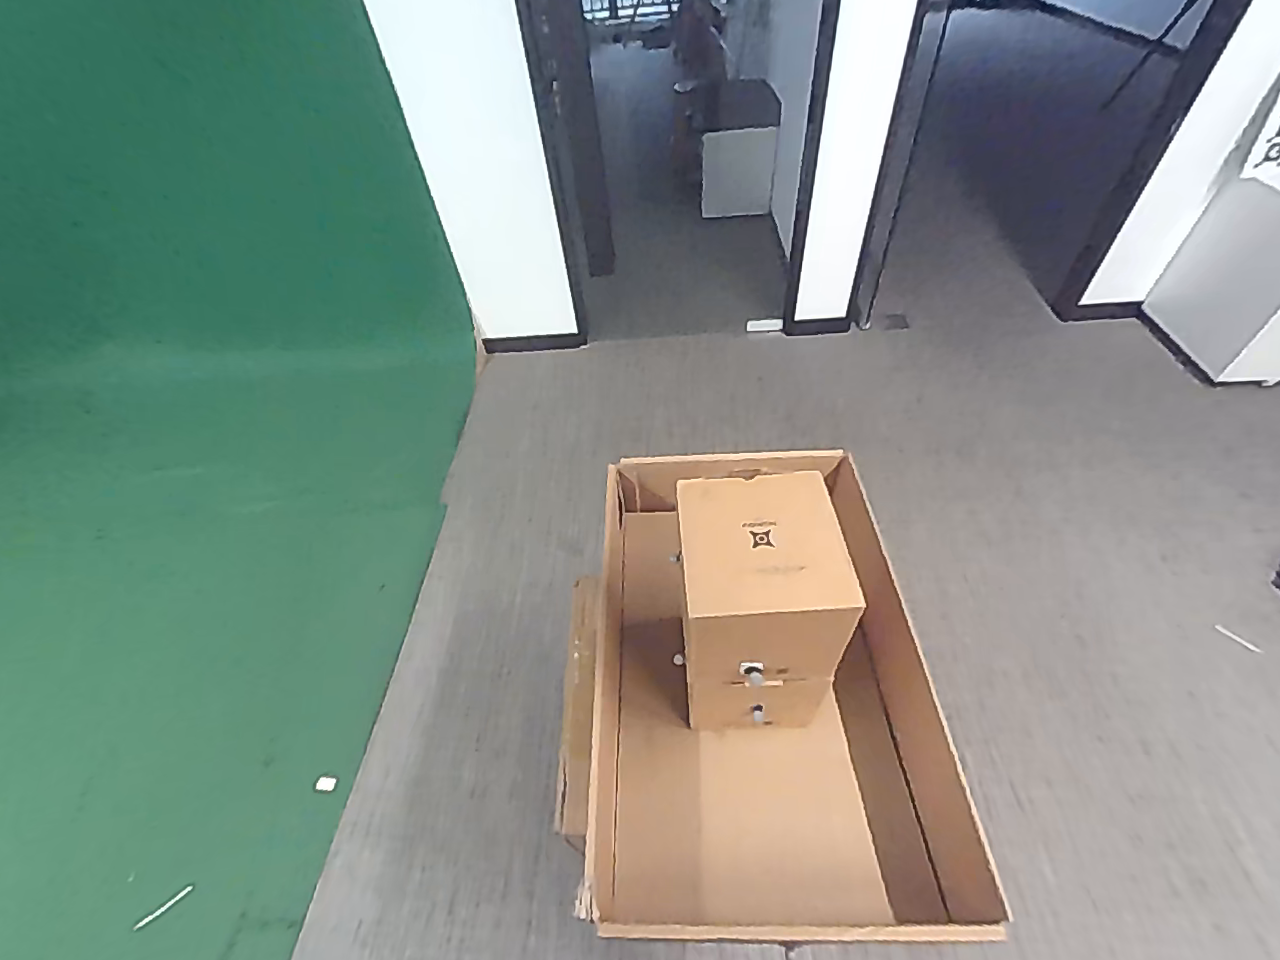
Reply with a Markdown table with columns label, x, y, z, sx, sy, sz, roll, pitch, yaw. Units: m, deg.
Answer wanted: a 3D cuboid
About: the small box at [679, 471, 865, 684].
| label | x | y | z | sx | sy | sz | roll | pitch | yaw |
| --- | --- | --- | --- | --- | --- | --- | --- | --- | --- |
| small box | 0.130 | 0.112 | 0.614 | 0.168 | 0.176 | 0.179 | -4 | 48 | 2 |
